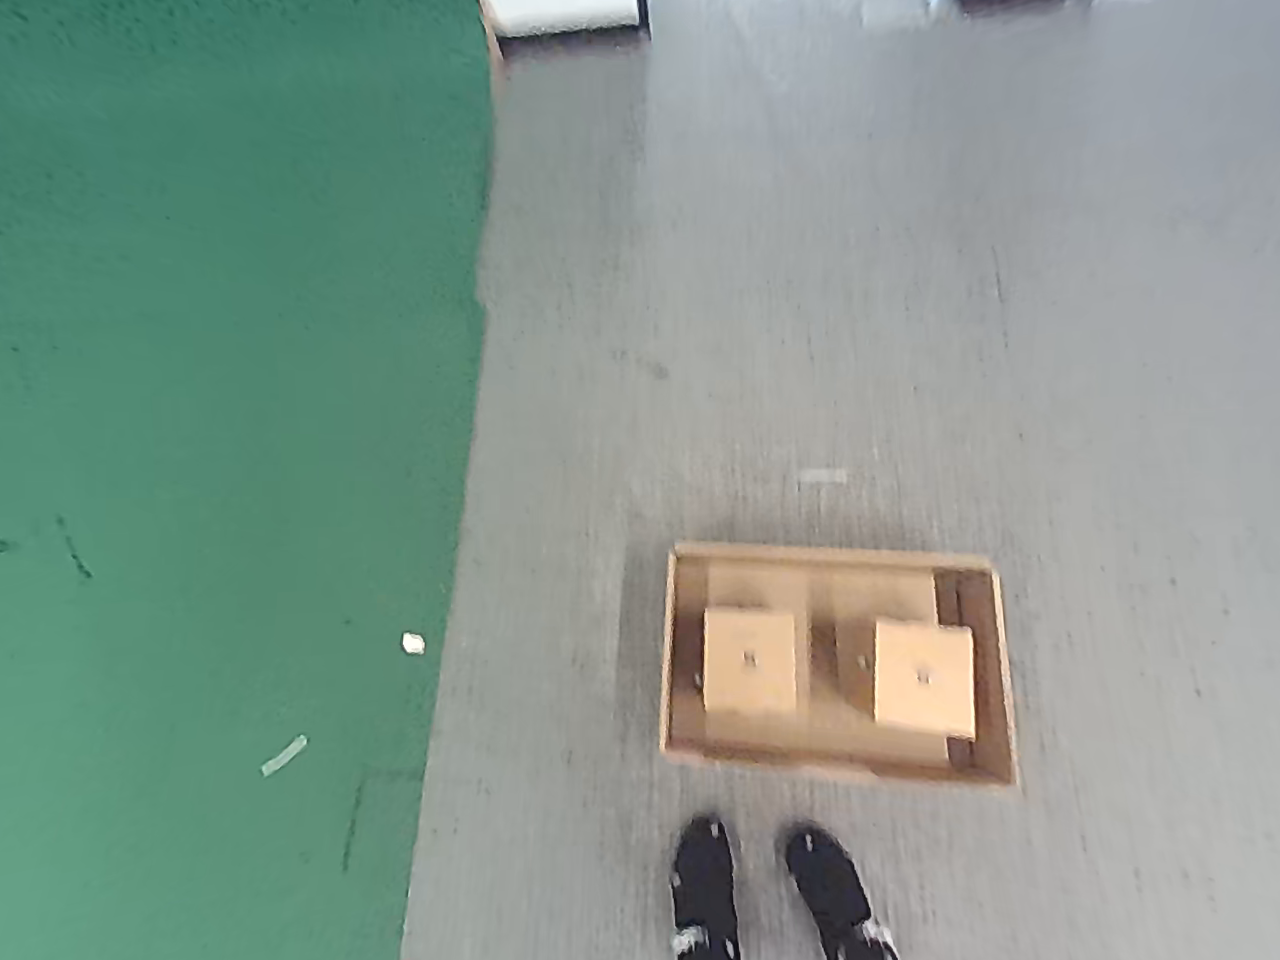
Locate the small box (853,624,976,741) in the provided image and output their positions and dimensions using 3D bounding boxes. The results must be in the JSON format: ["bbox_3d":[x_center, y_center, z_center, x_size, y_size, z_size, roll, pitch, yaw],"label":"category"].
[{"bbox_3d":[0.509,0.372,1.022,0.168,0.176,0.179,5,74,9],"label":"small box"}]

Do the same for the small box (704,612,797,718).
[{"bbox_3d":[0.212,0.356,1.062,0.168,0.176,0.179,2,74,6],"label":"small box"}]
